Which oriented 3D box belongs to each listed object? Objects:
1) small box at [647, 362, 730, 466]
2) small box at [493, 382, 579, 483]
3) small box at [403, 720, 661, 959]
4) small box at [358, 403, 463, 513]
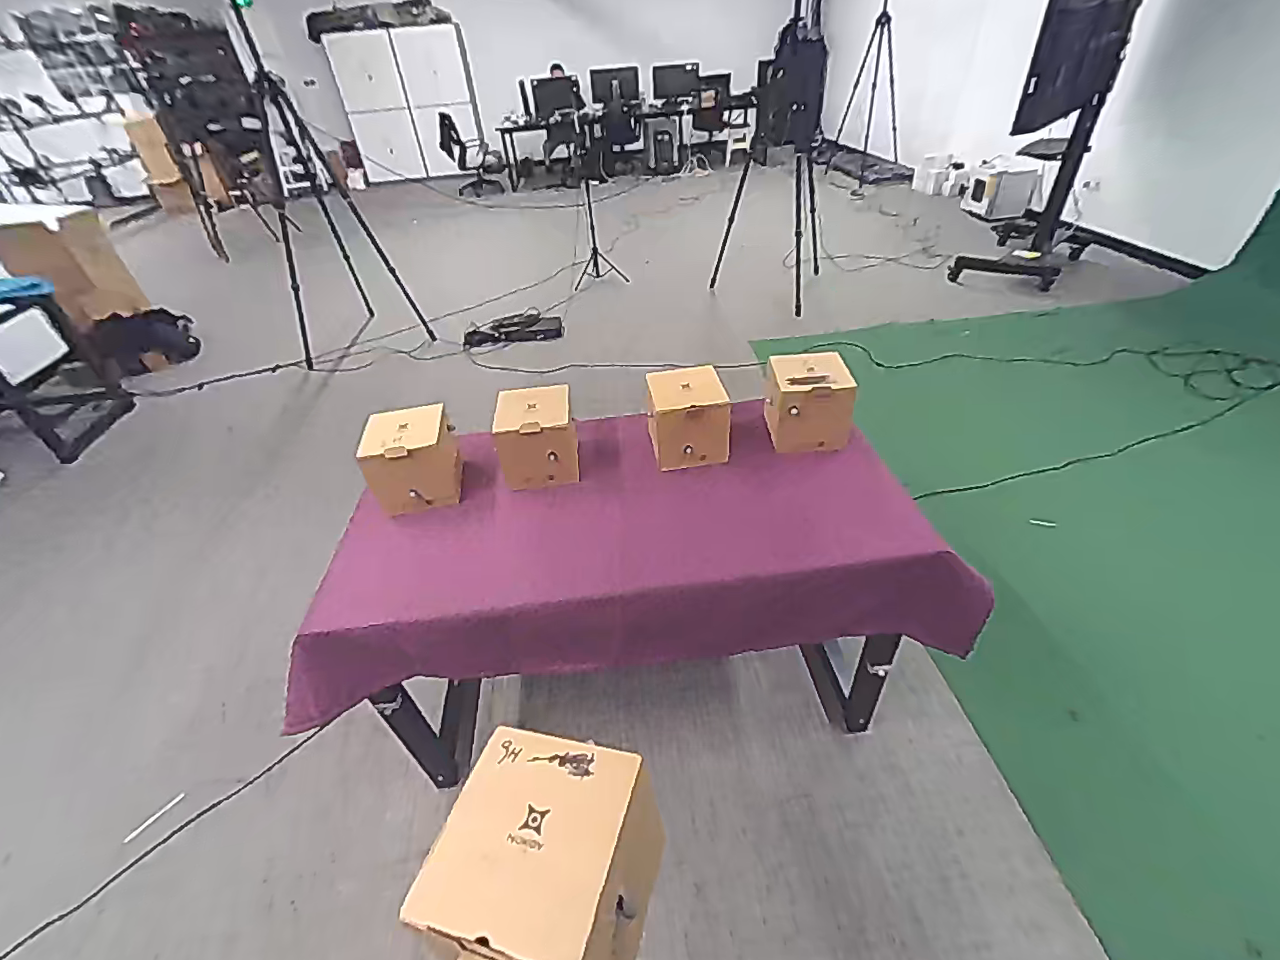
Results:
[{"bbox_3d":[0.110,-0.157,1.280,0.168,0.176,0.179,-9,40,-3],"label":"small box"},{"bbox_3d":[-0.235,-0.105,1.262,0.168,0.176,0.179,-6,39,-2],"label":"small box"},{"bbox_3d":[-0.085,0.374,0.530,0.168,0.176,0.179,2,36,20],"label":"small box"},{"bbox_3d":[-0.509,-0.051,1.229,0.168,0.176,0.179,-11,40,-6],"label":"small box"}]
